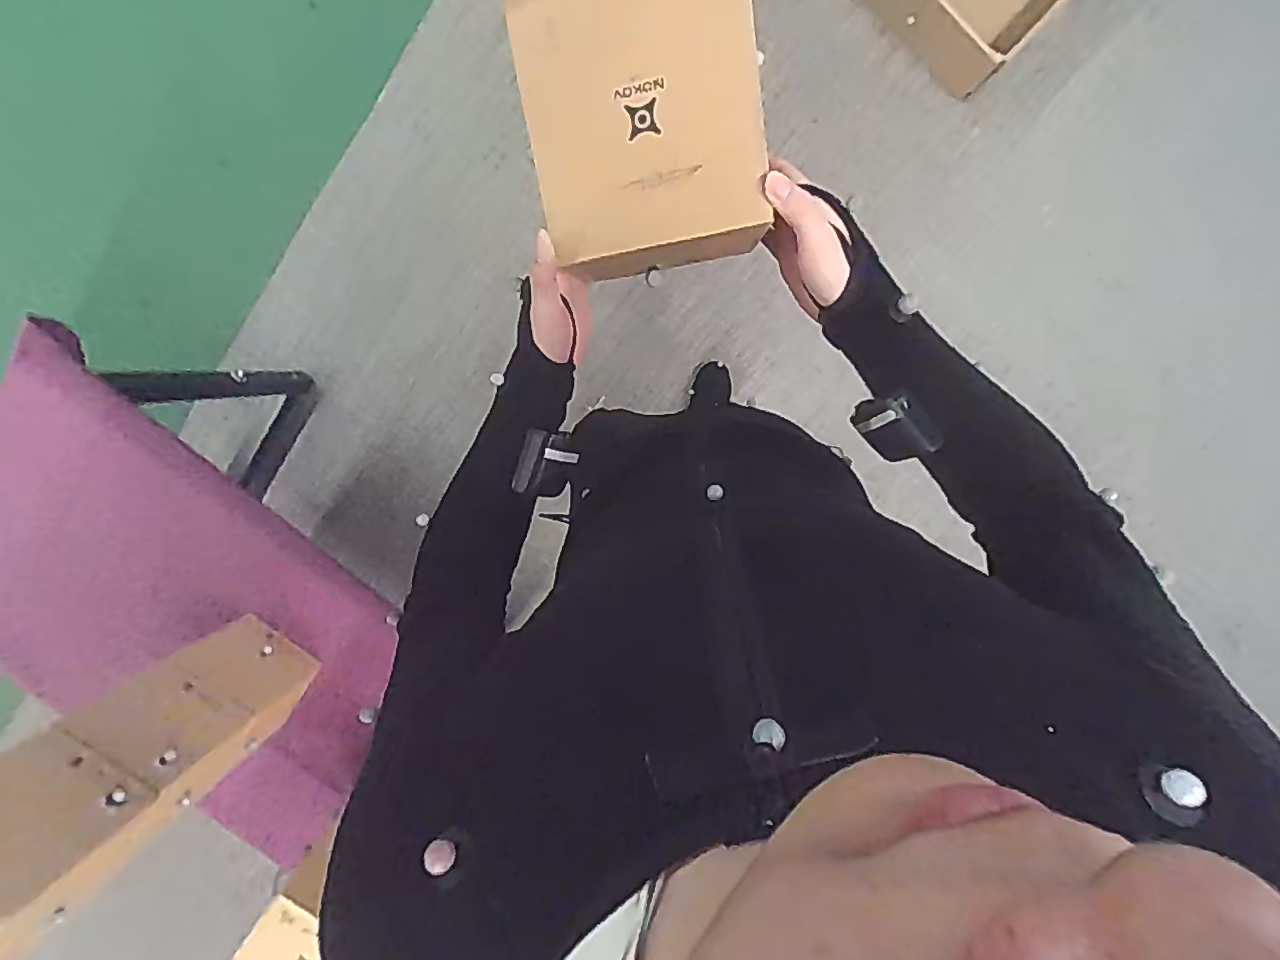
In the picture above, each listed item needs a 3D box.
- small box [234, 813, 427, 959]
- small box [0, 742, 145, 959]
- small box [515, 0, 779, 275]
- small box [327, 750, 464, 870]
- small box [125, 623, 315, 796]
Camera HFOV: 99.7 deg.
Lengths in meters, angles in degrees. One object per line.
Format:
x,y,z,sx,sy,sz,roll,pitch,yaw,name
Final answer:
-0.450,0.651,0.798,0.168,0.176,0.179,36,102,-2,small box
-0.731,0.445,0.616,0.168,0.176,0.179,36,103,-2,small box
0.014,-0.279,0.445,0.168,0.176,0.179,-7,105,8,small box
-0.444,0.632,0.961,0.168,0.176,0.179,34,101,-1,small box
-0.713,0.388,0.939,0.168,0.176,0.179,37,101,-3,small box
